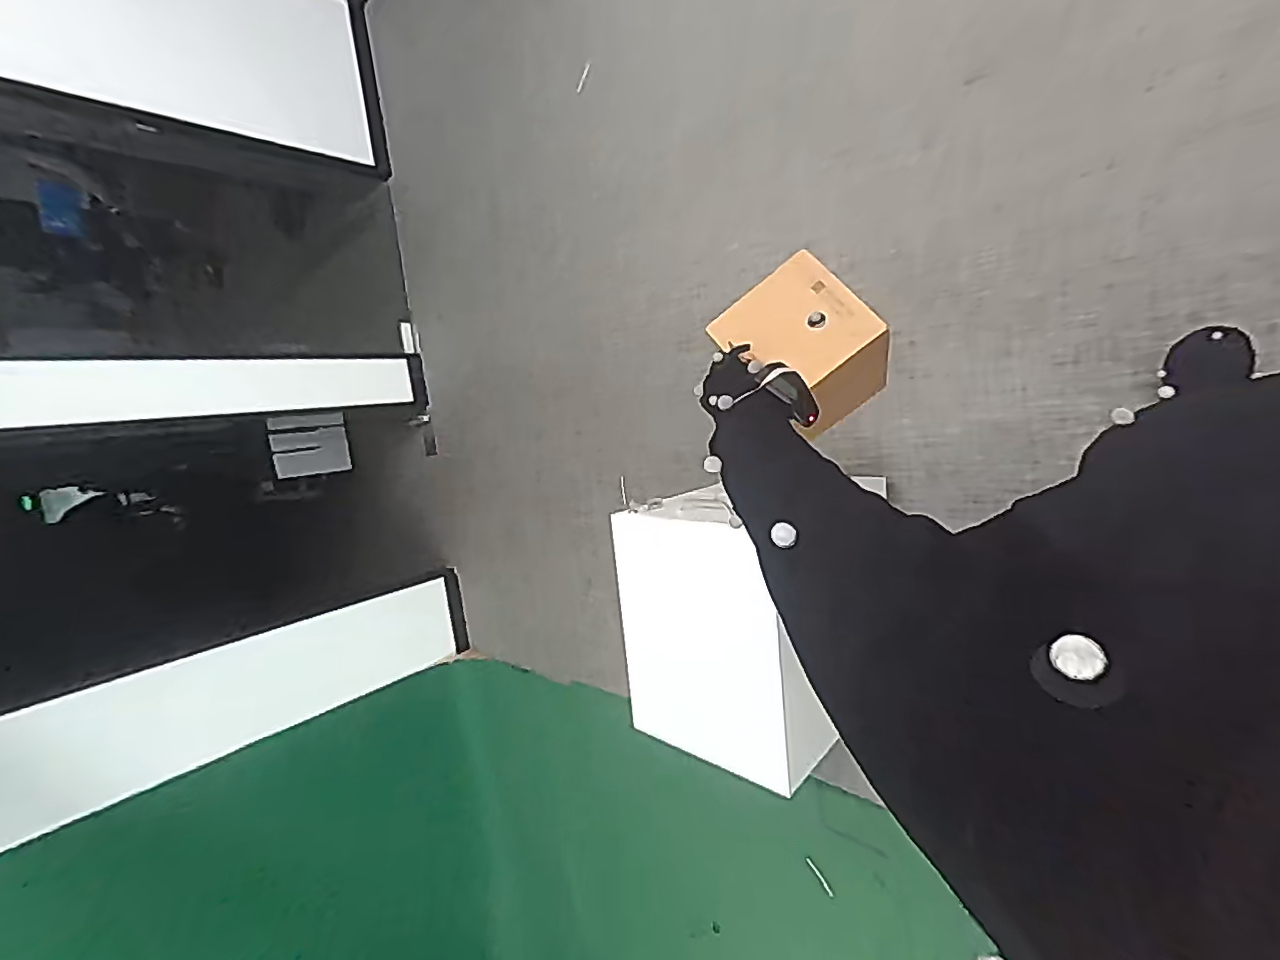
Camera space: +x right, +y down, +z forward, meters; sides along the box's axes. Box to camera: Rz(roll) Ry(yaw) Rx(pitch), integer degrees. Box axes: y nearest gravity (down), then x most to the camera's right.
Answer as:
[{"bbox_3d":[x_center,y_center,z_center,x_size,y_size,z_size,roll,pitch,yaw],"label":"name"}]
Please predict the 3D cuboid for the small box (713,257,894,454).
[{"bbox_3d":[0.235,-0.169,0.765,0.176,0.179,0.168,-38,64,10],"label":"small box"}]
